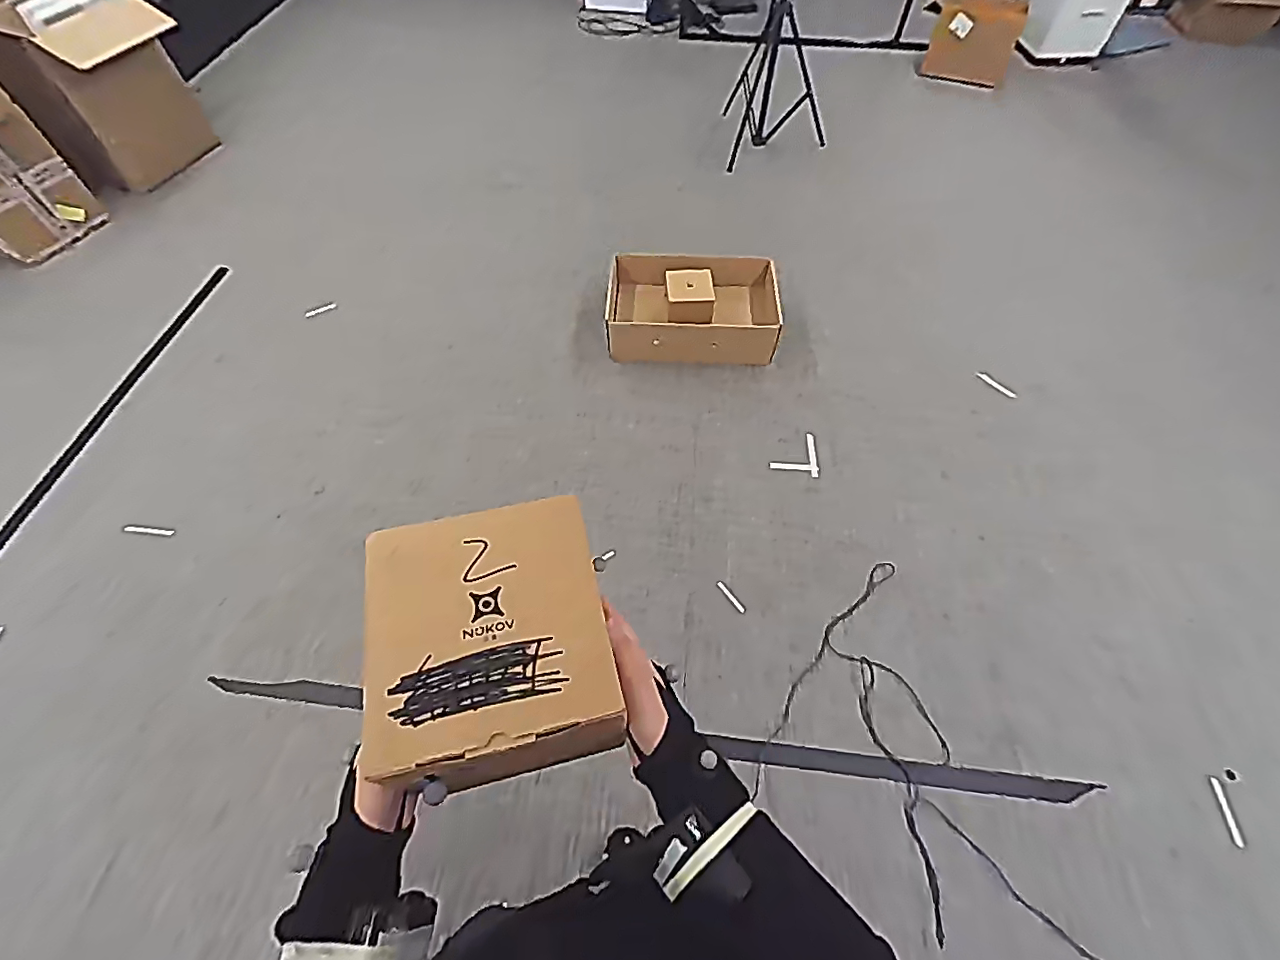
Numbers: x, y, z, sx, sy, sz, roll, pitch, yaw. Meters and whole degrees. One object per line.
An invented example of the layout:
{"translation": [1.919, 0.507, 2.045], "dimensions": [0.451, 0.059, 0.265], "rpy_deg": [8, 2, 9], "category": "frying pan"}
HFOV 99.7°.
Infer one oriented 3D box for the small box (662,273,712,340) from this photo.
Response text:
{"translation": [0.170, -0.644, 2.015], "dimensions": [0.168, 0.176, 0.179], "rpy_deg": [-3, 58, -1], "category": "small box"}
